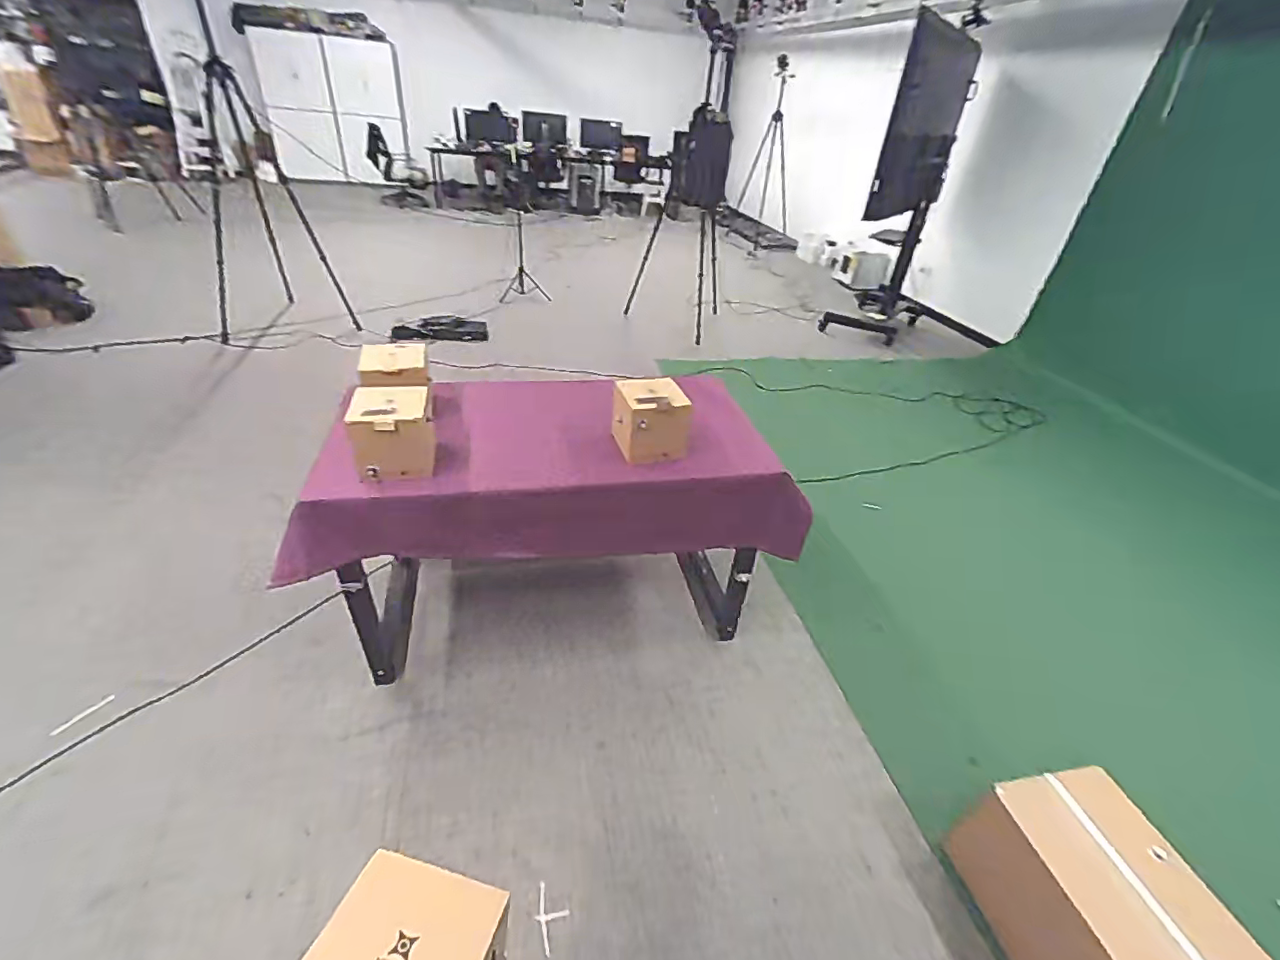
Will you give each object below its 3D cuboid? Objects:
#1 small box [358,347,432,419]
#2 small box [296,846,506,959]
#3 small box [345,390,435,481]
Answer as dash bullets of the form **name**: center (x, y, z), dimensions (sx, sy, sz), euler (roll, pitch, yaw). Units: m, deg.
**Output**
- **small box**: center (-0.691, -0.264, 1.543), dimensions (0.168, 0.176, 0.179), euler (-6, 38, -17)
- **small box**: center (-0.258, 0.543, 0.564), dimensions (0.168, 0.176, 0.179), euler (12, 21, 8)
- **small box**: center (-0.604, -0.106, 1.330), dimensions (0.168, 0.176, 0.179), euler (-4, 35, -14)
